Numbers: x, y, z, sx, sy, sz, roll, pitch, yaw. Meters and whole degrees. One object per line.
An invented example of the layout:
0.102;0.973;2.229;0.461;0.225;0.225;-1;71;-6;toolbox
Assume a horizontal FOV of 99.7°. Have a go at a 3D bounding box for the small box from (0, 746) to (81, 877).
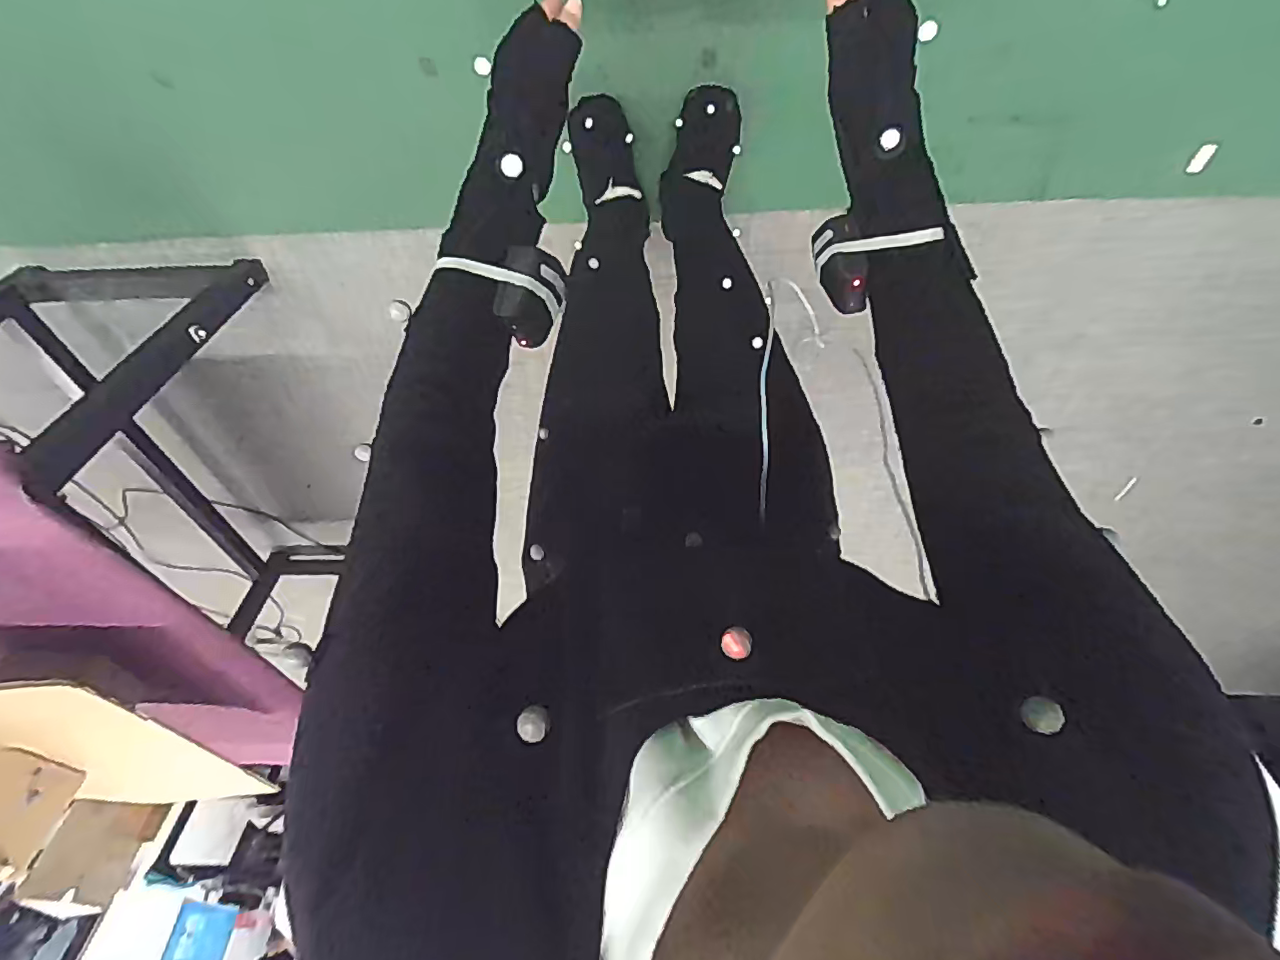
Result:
-1.168;0.573;0.943;0.179;0.176;0.168;2;138;2;small box
